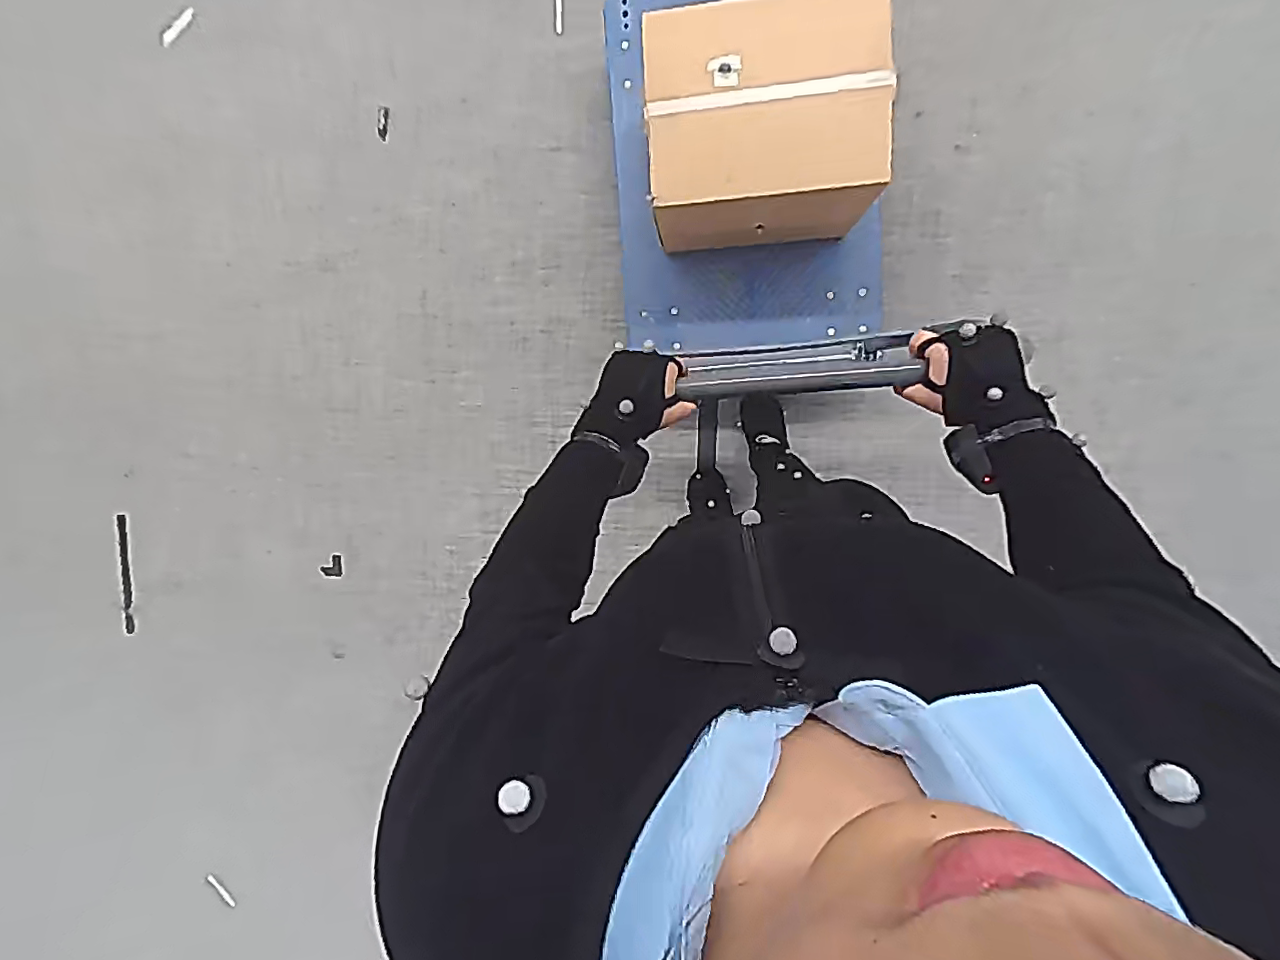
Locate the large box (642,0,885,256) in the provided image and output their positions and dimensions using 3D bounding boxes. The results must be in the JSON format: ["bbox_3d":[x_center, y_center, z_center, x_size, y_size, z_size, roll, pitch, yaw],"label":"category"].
[{"bbox_3d":[0.231,-0.661,1.072,0.408,0.320,0.320,-3,97,8],"label":"large box"}]
